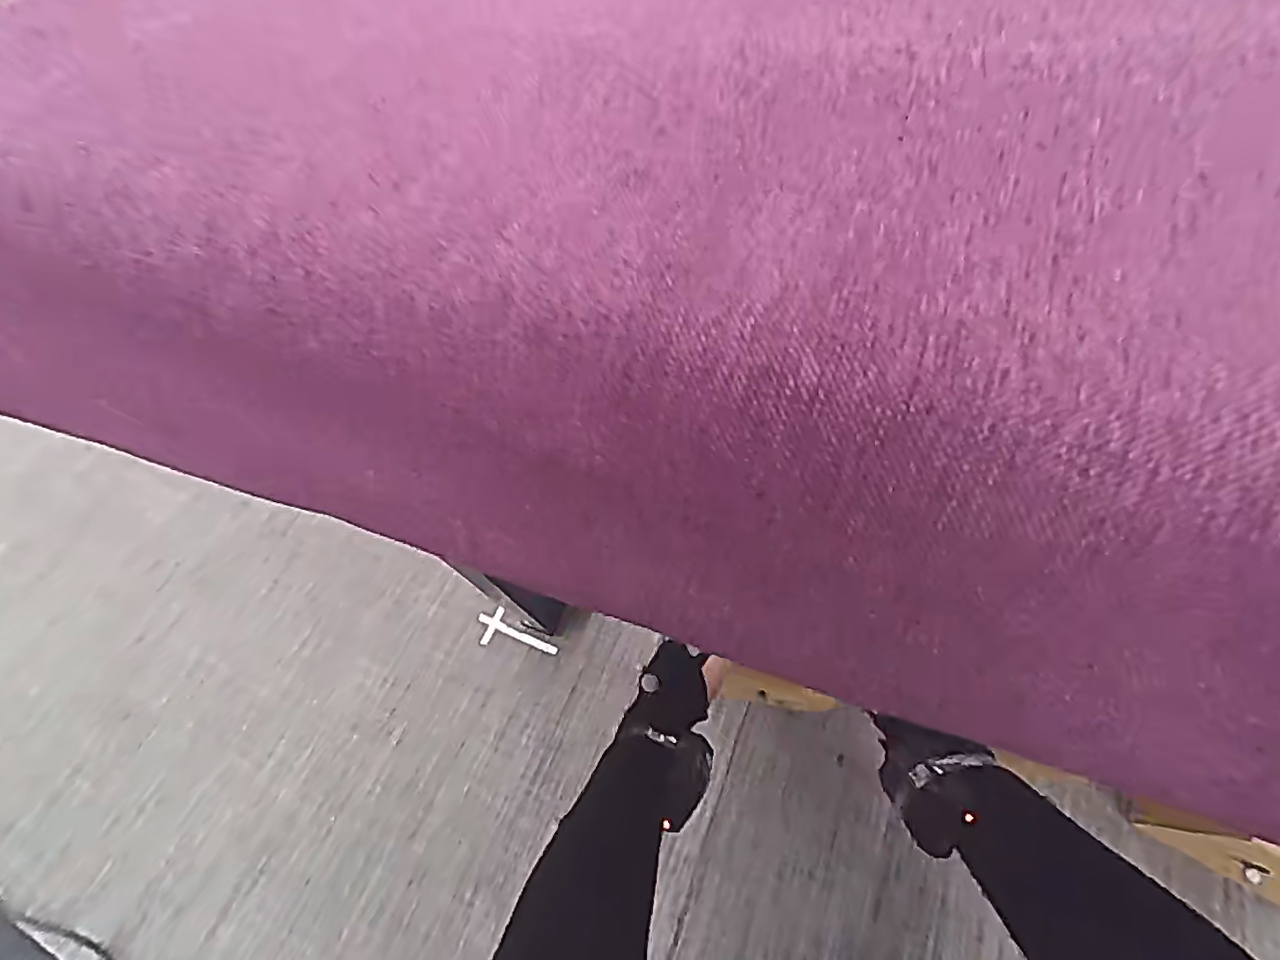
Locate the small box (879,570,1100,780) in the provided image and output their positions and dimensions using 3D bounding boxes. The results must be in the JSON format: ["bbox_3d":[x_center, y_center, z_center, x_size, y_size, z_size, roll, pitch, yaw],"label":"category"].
[{"bbox_3d":[0.414,0.242,0.667,0.168,0.176,0.179,20,66,14],"label":"small box"}]

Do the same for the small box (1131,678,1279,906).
[{"bbox_3d":[0.694,0.348,0.590,0.168,0.176,0.179,27,67,18],"label":"small box"}]
